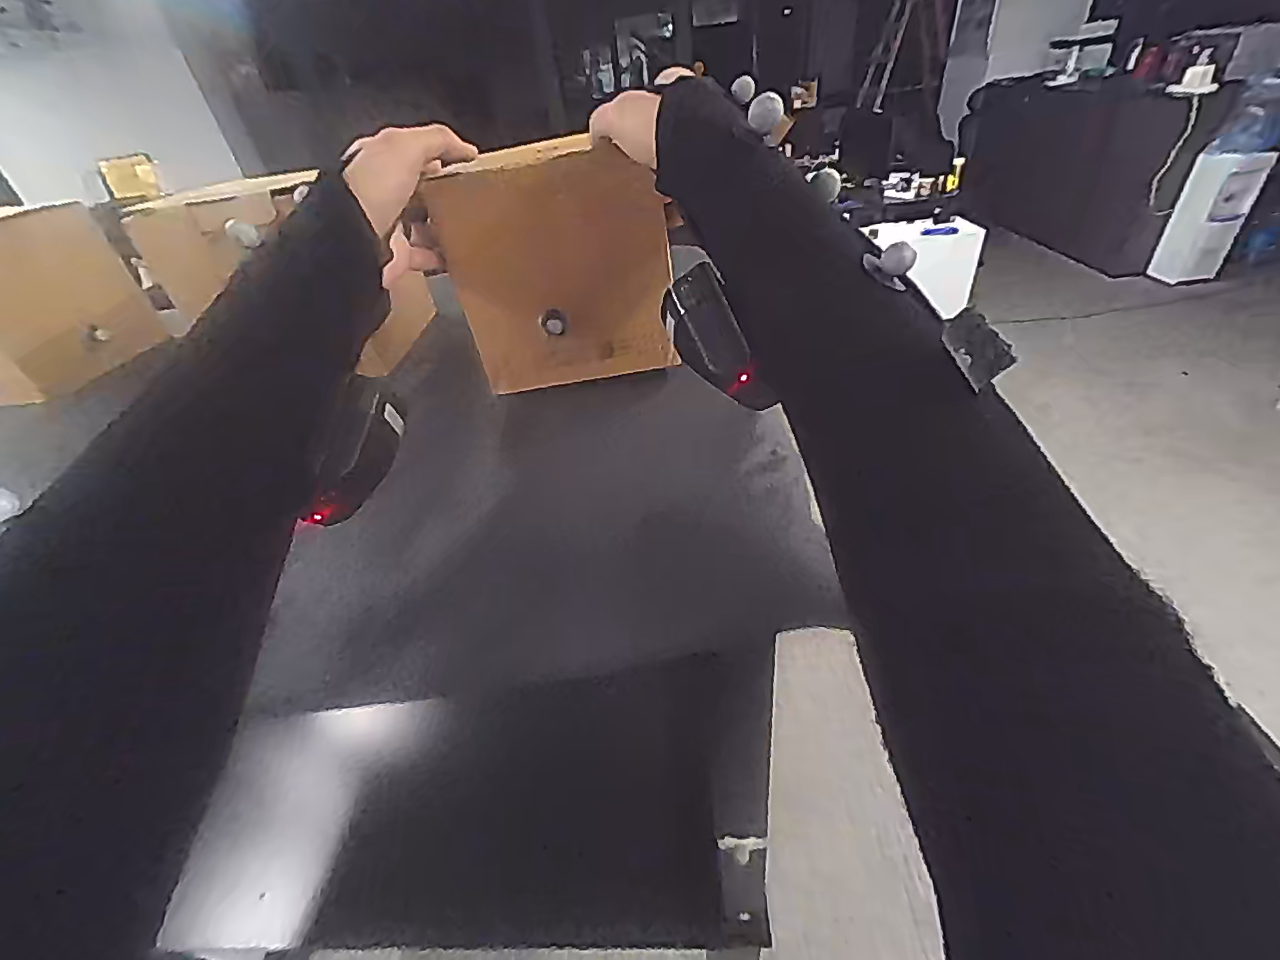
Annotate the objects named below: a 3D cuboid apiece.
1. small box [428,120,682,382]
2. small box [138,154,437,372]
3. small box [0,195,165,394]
[{"bbox_3d":[-0.057,-0.204,0.479,0.168,0.176,0.179,-8,35,4],"label":"small box"},{"bbox_3d":[-0.334,-0.221,0.562,0.168,0.176,0.179,-6,37,3],"label":"small box"},{"bbox_3d":[-0.707,-0.211,0.617,0.168,0.176,0.179,-1,38,9],"label":"small box"}]
